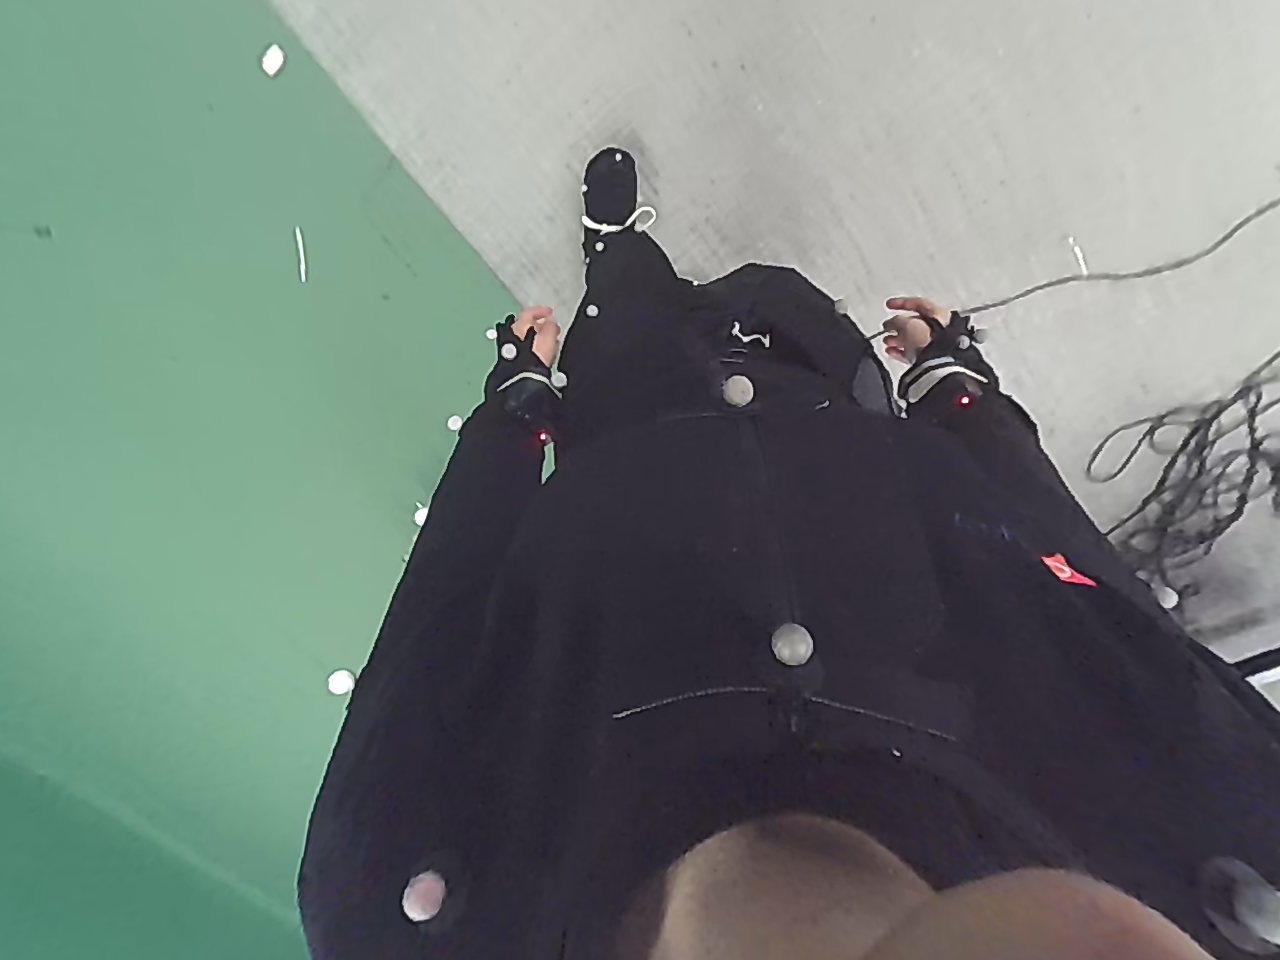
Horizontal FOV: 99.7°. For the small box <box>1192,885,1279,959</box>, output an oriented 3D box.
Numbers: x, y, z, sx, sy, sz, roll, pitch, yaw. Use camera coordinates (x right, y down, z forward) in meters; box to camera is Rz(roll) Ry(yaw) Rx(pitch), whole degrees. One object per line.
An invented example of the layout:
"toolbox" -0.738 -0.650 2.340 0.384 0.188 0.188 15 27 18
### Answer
"small box" 1.019 0.760 0.824 0.168 0.176 0.179 -35 108 19
